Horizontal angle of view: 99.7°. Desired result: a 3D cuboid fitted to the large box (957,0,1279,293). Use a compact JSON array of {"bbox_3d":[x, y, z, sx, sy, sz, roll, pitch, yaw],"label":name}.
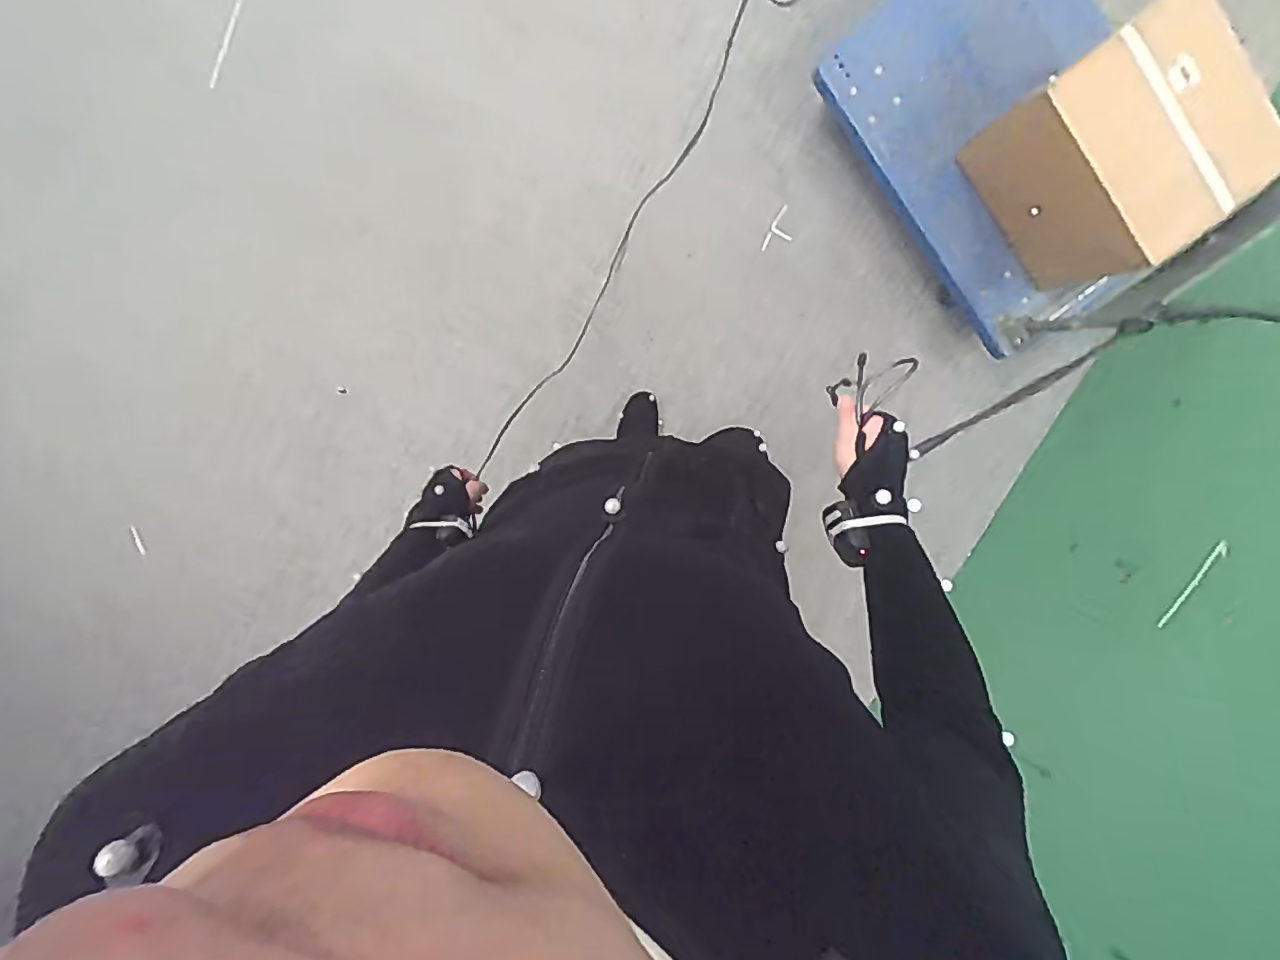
[{"bbox_3d":[0.986,-0.673,1.150,0.320,0.320,0.408,-37,97,7],"label":"large box"}]
